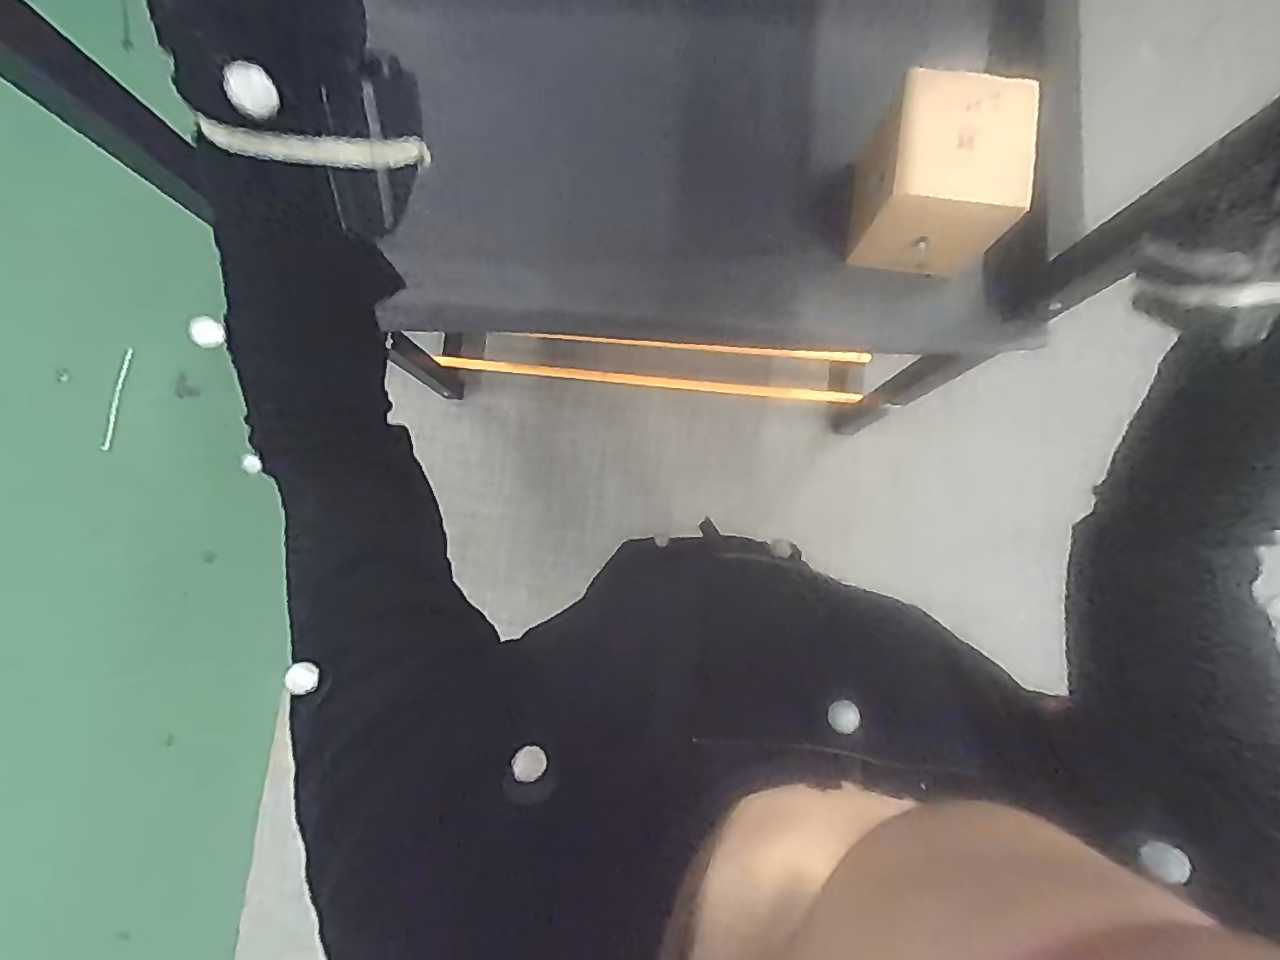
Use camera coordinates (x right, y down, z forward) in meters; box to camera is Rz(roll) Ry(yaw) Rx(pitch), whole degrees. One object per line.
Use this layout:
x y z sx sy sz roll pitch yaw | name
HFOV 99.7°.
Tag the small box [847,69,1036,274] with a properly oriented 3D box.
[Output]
0.398 -0.408 0.741 0.168 0.176 0.179 9 82 3 | small box
